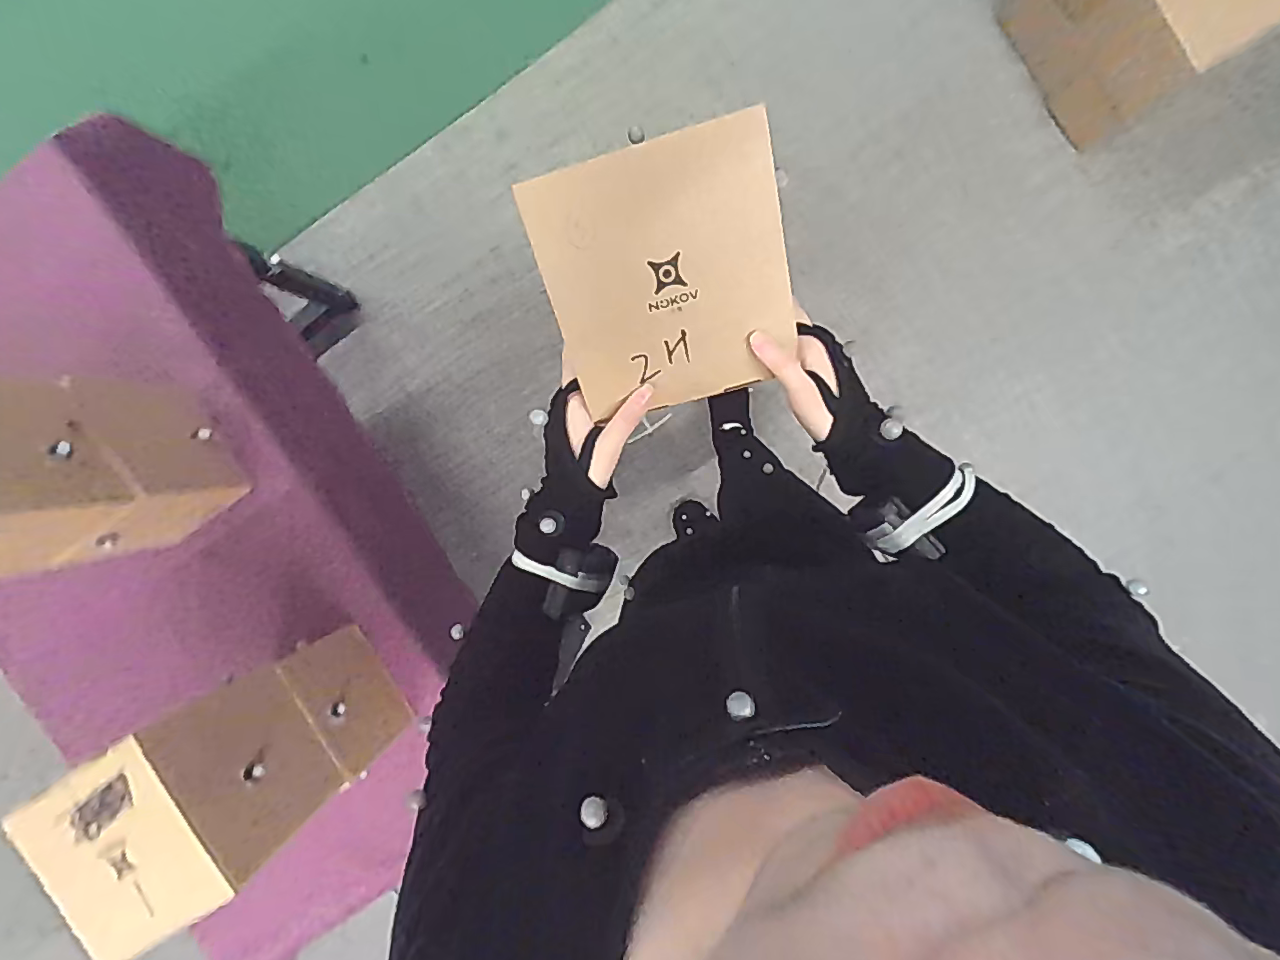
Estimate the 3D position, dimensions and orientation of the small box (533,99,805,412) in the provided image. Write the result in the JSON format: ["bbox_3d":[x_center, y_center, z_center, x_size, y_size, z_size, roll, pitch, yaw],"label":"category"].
[{"bbox_3d":[0.025,-0.181,0.449,0.168,0.176,0.179,-13,118,6],"label":"small box"}]

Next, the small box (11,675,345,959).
[{"bbox_3d":[-0.467,0.336,0.577,0.168,0.176,0.179,-33,92,5],"label":"small box"}]

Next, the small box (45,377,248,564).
[{"bbox_3d":[-0.697,-0.014,0.733,0.168,0.176,0.179,-34,91,7],"label":"small box"}]

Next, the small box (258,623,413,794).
[{"bbox_3d":[-0.450,0.327,0.740,0.168,0.176,0.179,-32,91,5],"label":"small box"}]

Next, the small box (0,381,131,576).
[{"bbox_3d":[-0.718,0.006,0.572,0.179,0.176,0.168,-33,91,5],"label":"small box"}]
